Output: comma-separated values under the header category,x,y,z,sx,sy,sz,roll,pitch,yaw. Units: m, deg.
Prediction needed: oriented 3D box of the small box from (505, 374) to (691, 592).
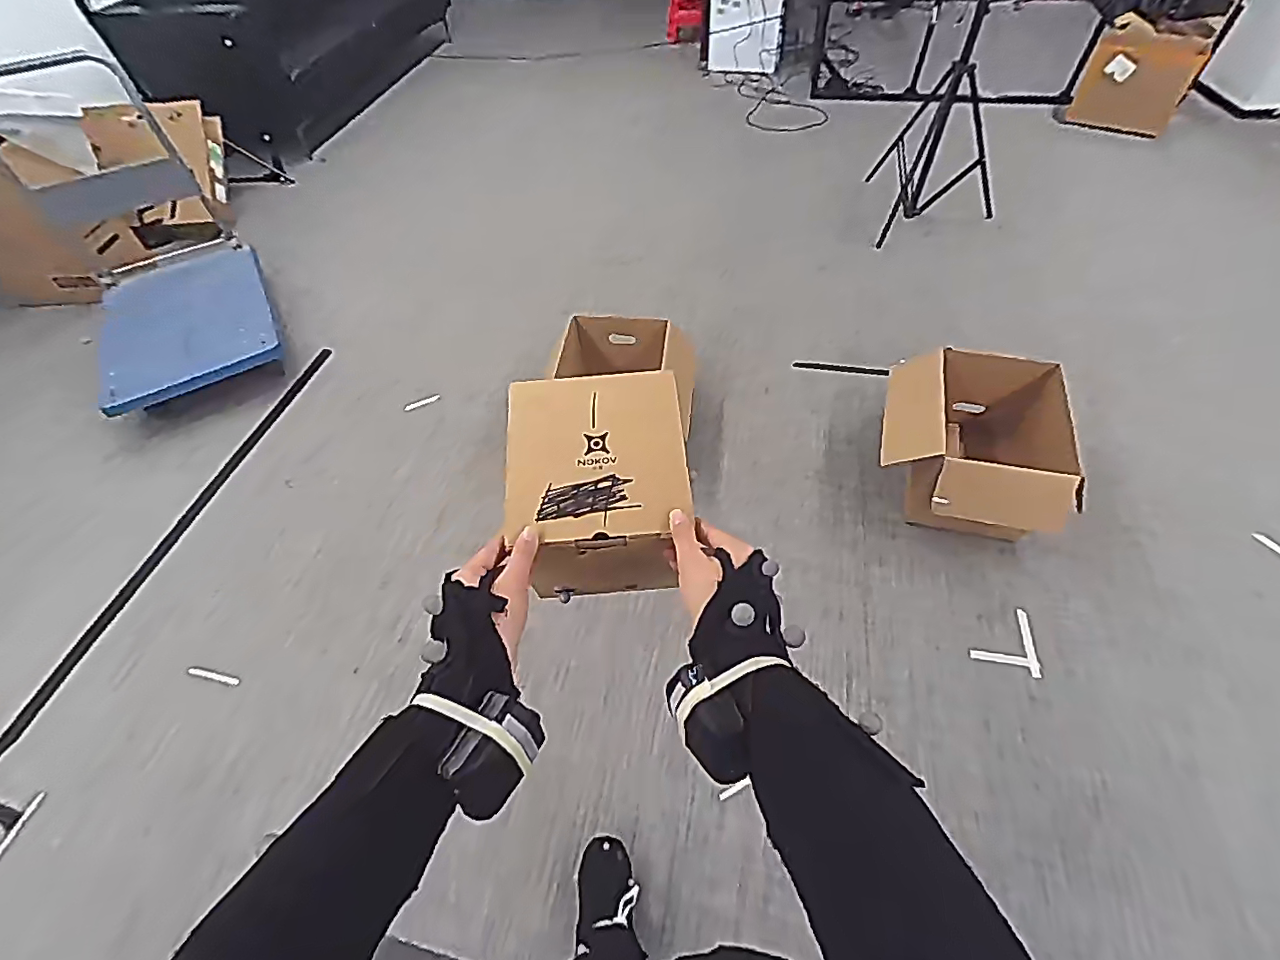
category,x,y,z,sx,sy,sz,roll,pitch,yaw
small box,-0.039,0.013,0.574,0.168,0.176,0.179,-5,62,-2
